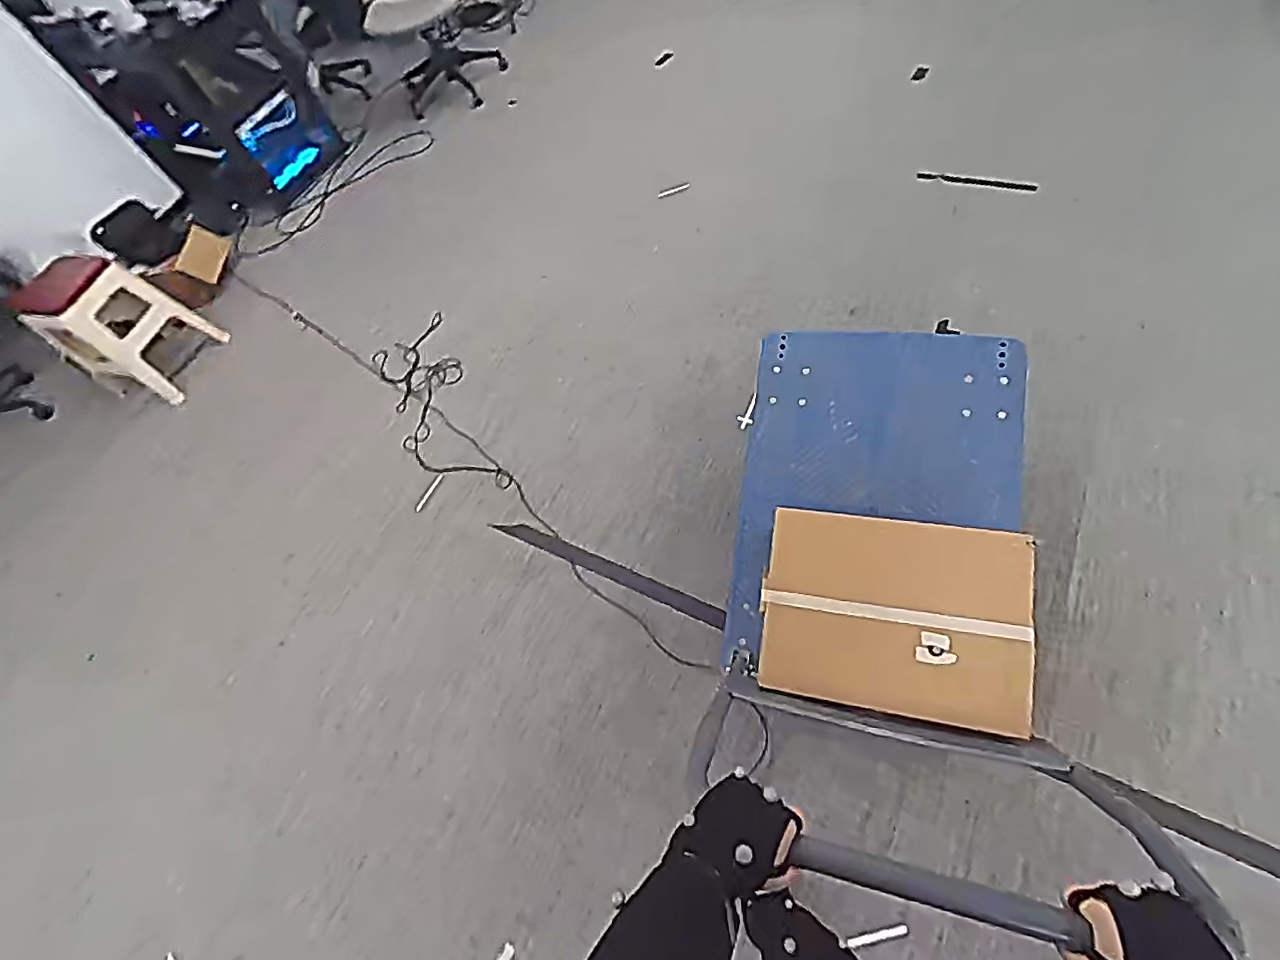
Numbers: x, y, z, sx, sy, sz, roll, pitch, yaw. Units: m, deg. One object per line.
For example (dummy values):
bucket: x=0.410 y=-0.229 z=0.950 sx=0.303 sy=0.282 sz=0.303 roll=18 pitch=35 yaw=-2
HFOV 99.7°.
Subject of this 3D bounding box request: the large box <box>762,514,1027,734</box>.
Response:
large box: x=0.454 y=0.258 z=1.046 sx=0.408 sy=0.320 sz=0.320 roll=6 pitch=80 yaw=16
